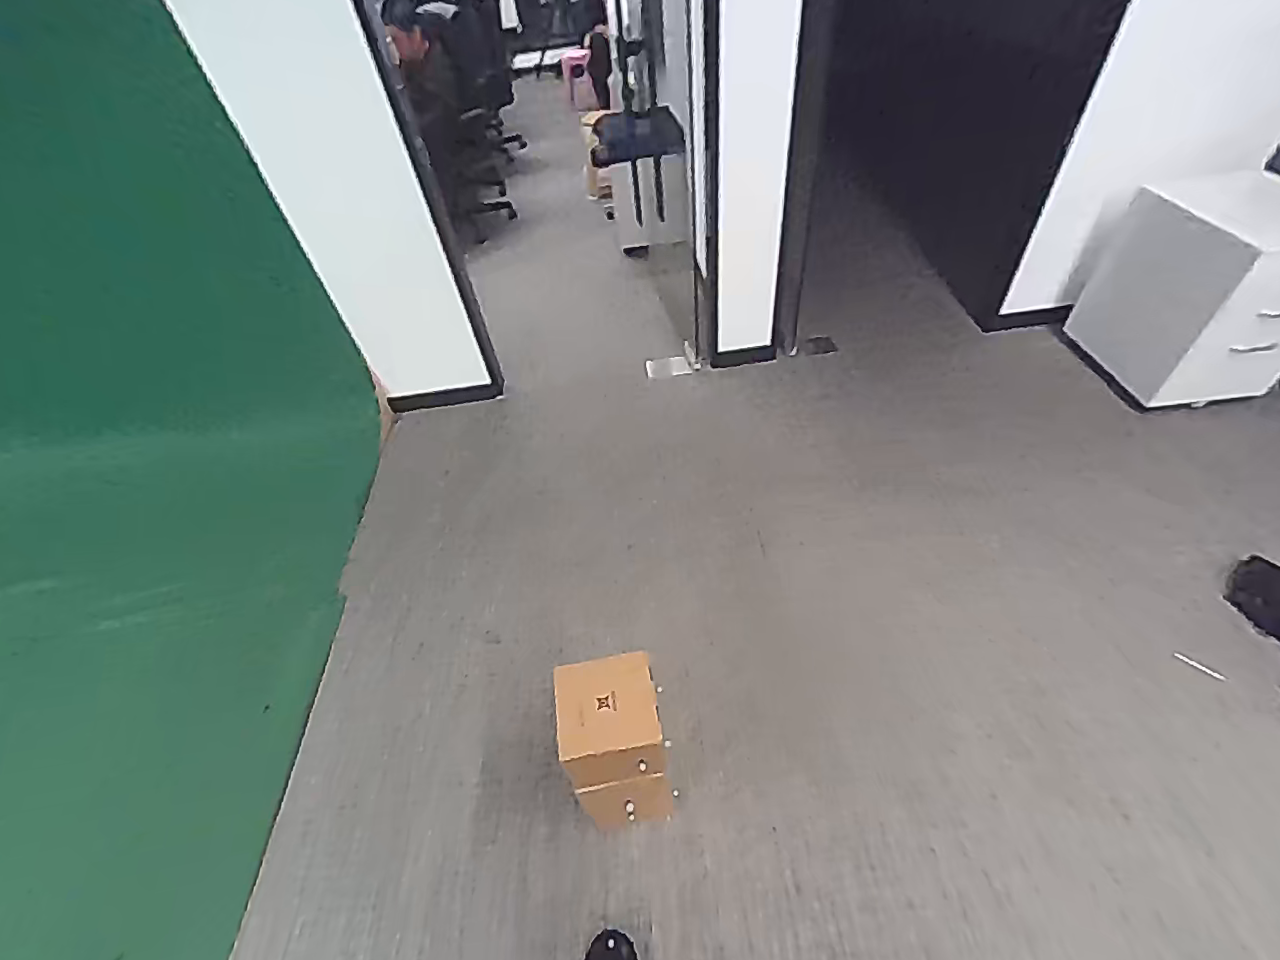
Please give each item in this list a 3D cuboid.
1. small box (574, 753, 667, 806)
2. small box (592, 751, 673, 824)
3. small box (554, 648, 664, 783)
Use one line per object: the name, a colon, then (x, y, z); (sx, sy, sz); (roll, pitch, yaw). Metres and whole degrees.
small box: (-0.043, 0.552, 1.116); (0.179, 0.176, 0.168); (-10, 47, -3)
small box: (-0.028, 0.659, 1.238); (0.179, 0.176, 0.168); (-13, 47, -6)
small box: (-0.054, 0.437, 1.001); (0.179, 0.176, 0.168); (-11, 46, -2)
